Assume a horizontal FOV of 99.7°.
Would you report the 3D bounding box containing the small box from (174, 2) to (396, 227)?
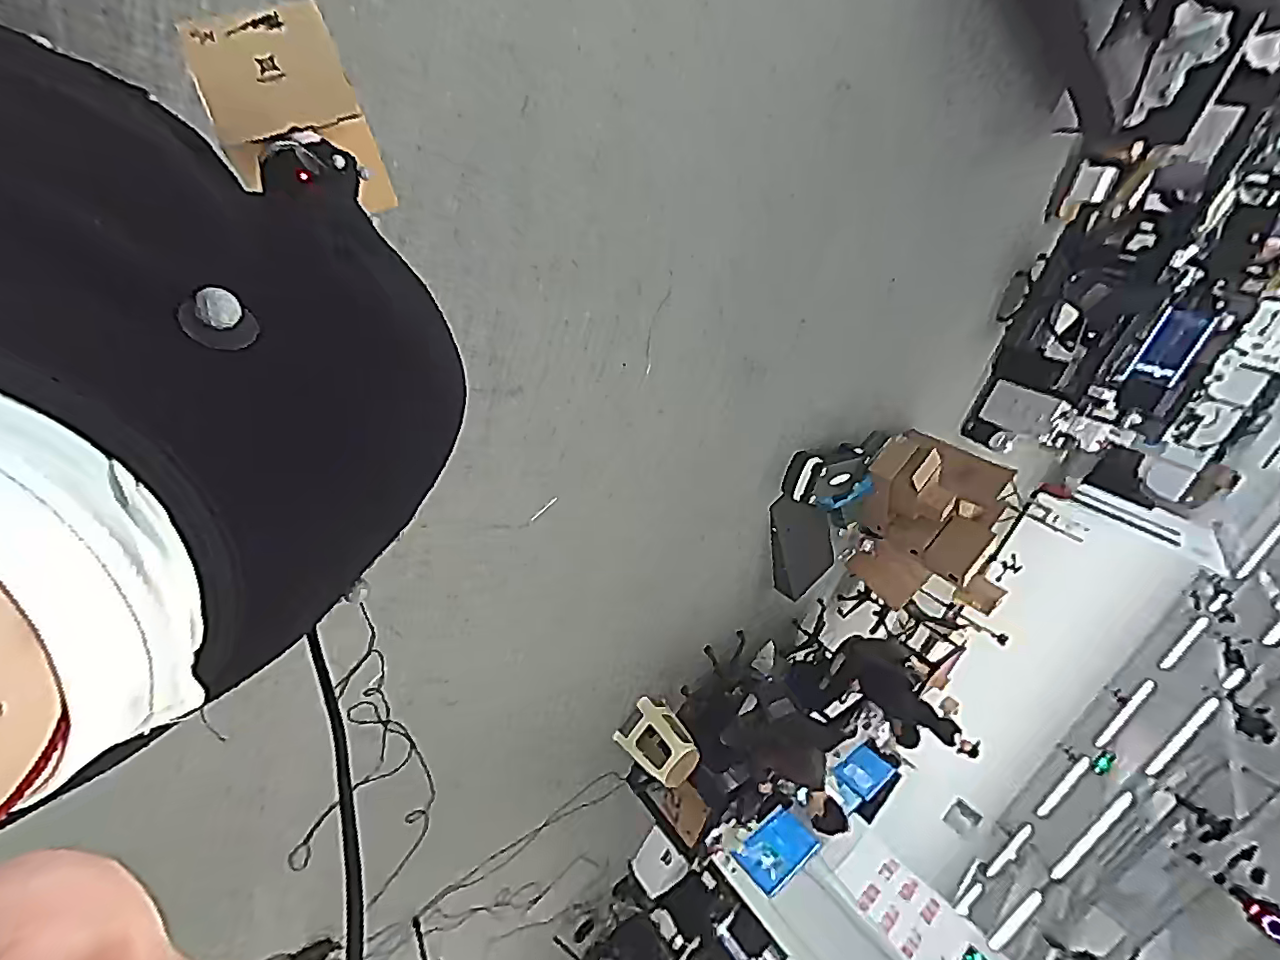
[{"bbox_3d":[-0.459,-0.475,0.731,0.168,0.179,0.176,-26,176,-12],"label":"small box"}]
